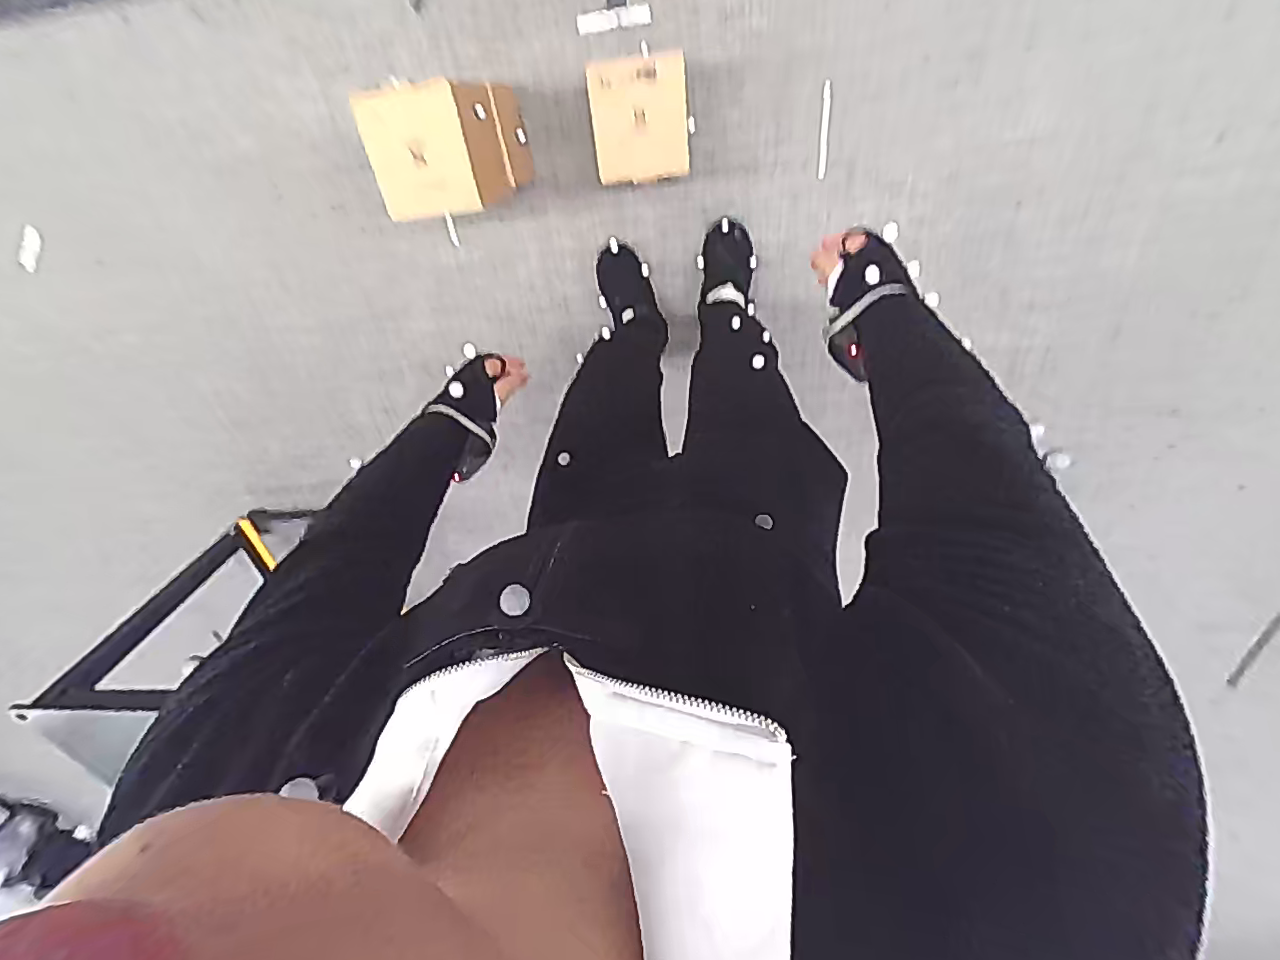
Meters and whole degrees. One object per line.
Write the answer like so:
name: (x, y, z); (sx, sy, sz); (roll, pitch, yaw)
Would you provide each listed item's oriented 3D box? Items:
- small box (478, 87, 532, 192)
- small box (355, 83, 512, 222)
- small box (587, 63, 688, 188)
small box: (-0.320, -0.651, 1.051); (0.179, 0.176, 0.168); (-4, 124, 9)
small box: (-0.337, -0.556, 0.920); (0.168, 0.176, 0.179); (-2, 125, 9)
small box: (0.004, -0.663, 1.012); (0.168, 0.176, 0.179); (-2, 125, 7)
